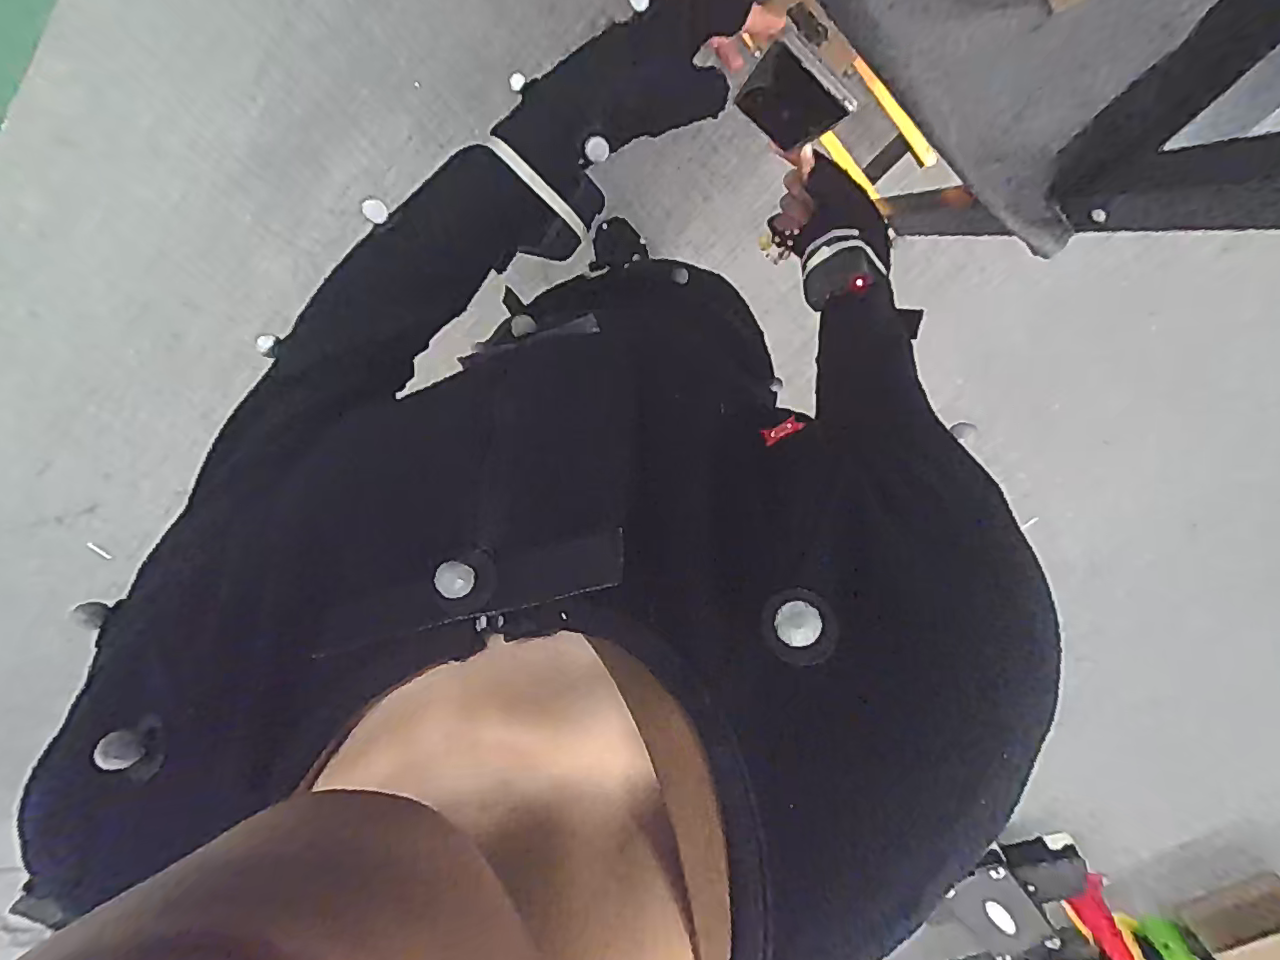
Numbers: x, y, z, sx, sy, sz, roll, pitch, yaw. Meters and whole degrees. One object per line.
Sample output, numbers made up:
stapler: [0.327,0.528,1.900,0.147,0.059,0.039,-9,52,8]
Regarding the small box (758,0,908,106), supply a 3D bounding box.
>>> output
small box: [0.328,-0.814,0.962,0.179,0.176,0.168,-39,109,17]
